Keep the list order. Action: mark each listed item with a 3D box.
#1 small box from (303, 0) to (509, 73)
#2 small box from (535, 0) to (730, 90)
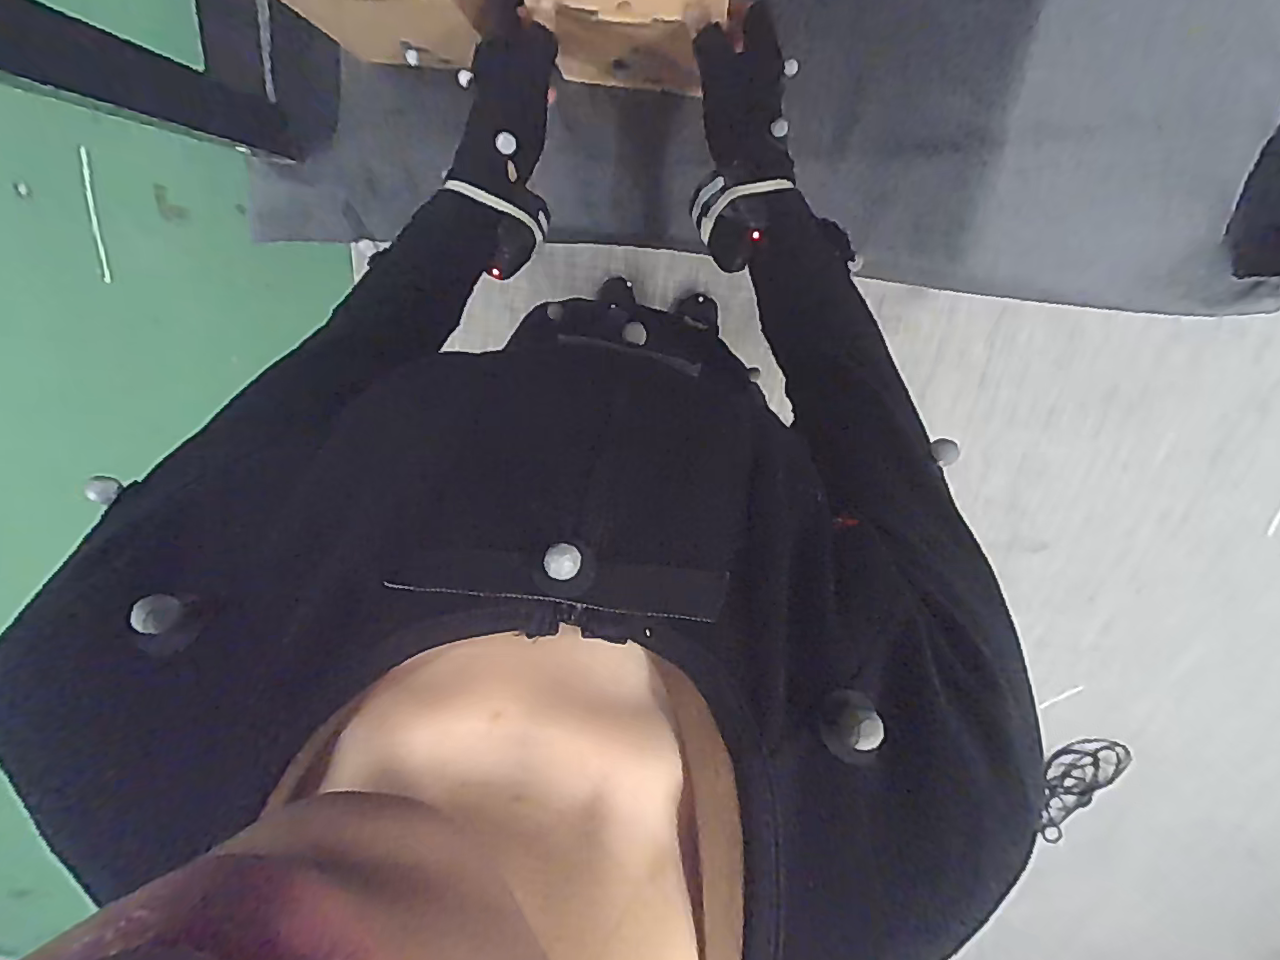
[{"bbox_3d":[-0.219,-0.505,0.484,0.168,0.176,0.179,6,110,2],"label":"small box"},{"bbox_3d":[0.003,-0.483,0.480,0.168,0.176,0.179,7,111,1],"label":"small box"}]
